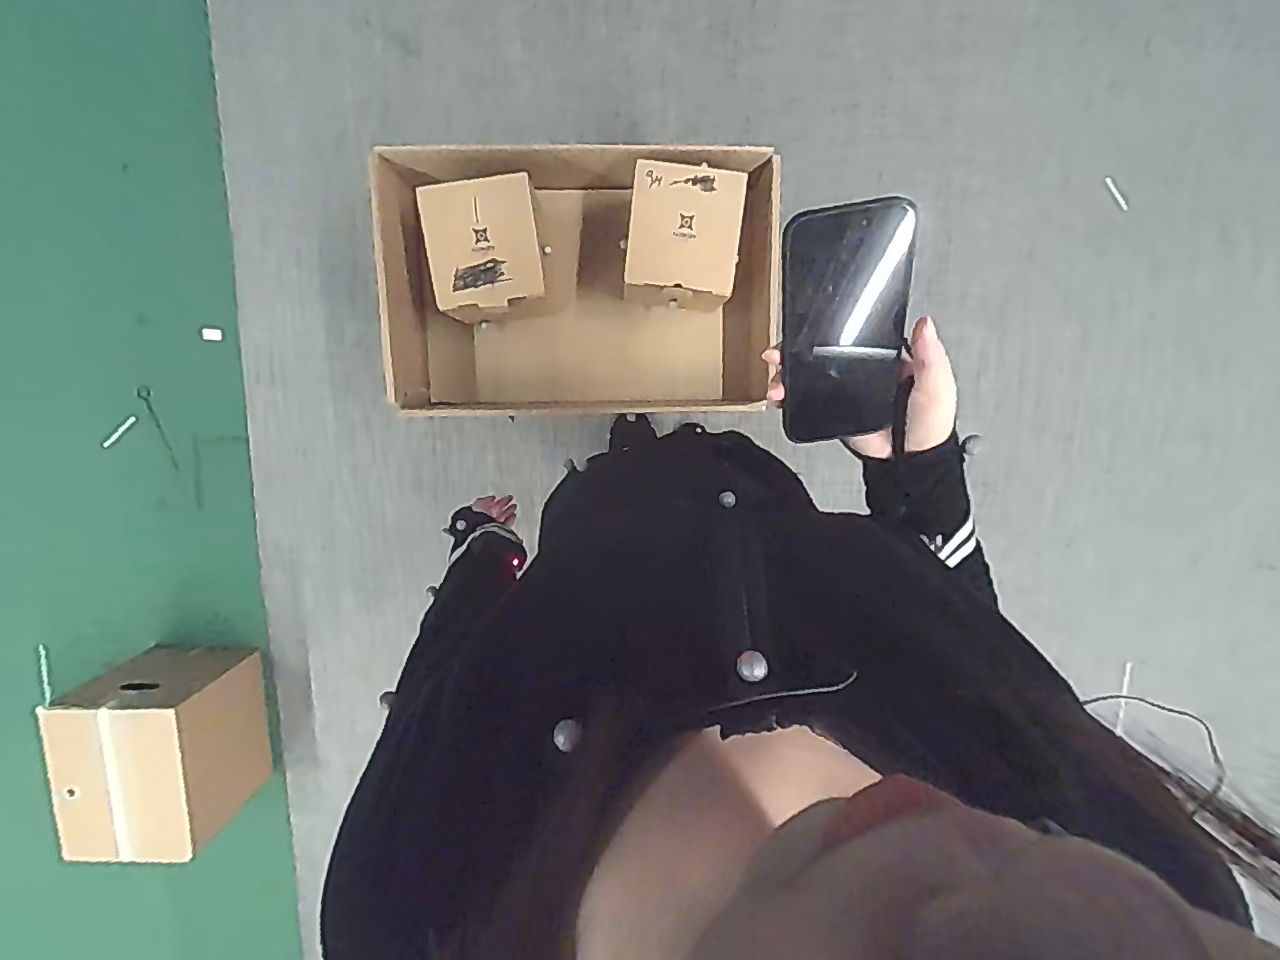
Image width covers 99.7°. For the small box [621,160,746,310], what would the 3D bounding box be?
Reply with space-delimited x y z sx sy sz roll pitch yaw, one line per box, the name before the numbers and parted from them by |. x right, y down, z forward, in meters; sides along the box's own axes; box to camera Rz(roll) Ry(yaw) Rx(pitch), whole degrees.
small box | 0.063 -0.380 0.873 0.168 0.176 0.179 7 100 -2
